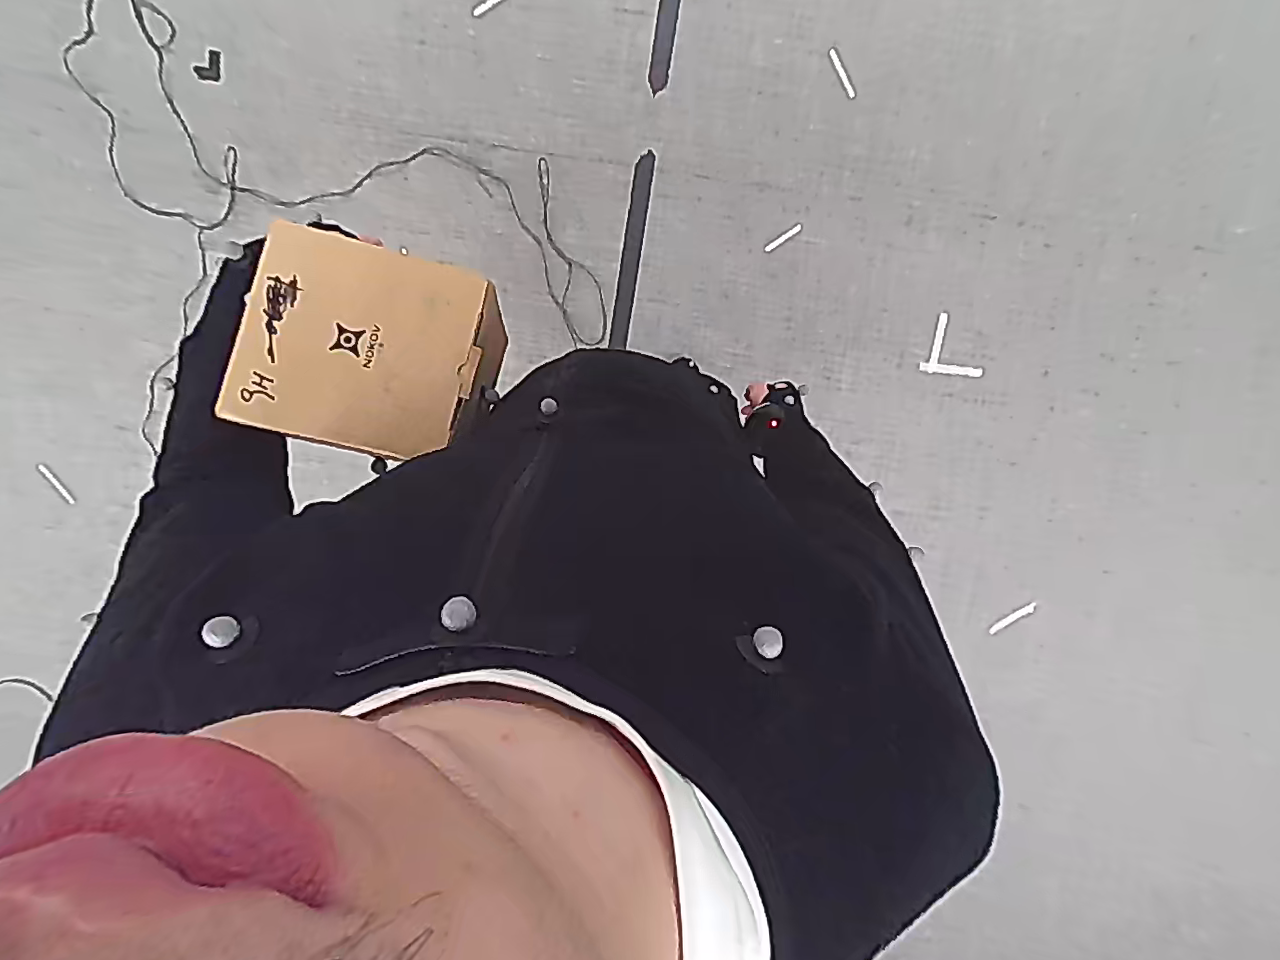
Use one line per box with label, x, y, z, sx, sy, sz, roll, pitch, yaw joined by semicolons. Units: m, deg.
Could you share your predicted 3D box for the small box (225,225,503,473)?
small box;-0.238;-0.104;0.520;0.179;0.176;0.168;14;85;-9
